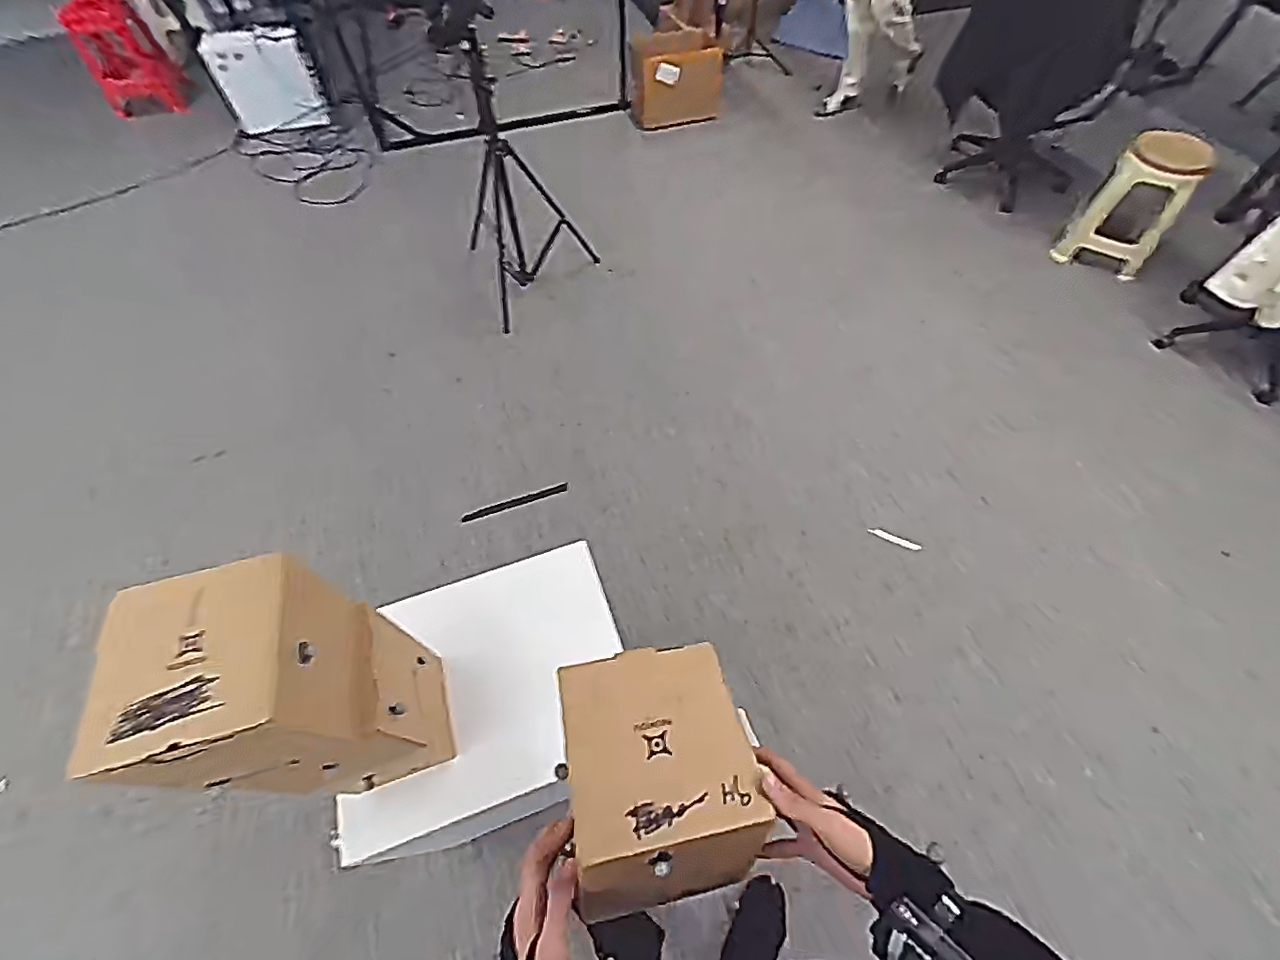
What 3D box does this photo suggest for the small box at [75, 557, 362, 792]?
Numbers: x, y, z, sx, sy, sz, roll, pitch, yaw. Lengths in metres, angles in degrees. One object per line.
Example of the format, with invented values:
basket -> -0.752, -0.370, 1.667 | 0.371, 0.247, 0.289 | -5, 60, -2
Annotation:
small box -> -0.411, 0.210, 0.568 | 0.168, 0.176, 0.179 | -14, 58, -8

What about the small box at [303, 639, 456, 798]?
small box -> -0.402, 0.378, 0.851 | 0.168, 0.176, 0.179 | -16, 59, -10

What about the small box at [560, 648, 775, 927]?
small box -> 0.011, 0.299, 0.539 | 0.168, 0.176, 0.179 | -6, 39, -11
